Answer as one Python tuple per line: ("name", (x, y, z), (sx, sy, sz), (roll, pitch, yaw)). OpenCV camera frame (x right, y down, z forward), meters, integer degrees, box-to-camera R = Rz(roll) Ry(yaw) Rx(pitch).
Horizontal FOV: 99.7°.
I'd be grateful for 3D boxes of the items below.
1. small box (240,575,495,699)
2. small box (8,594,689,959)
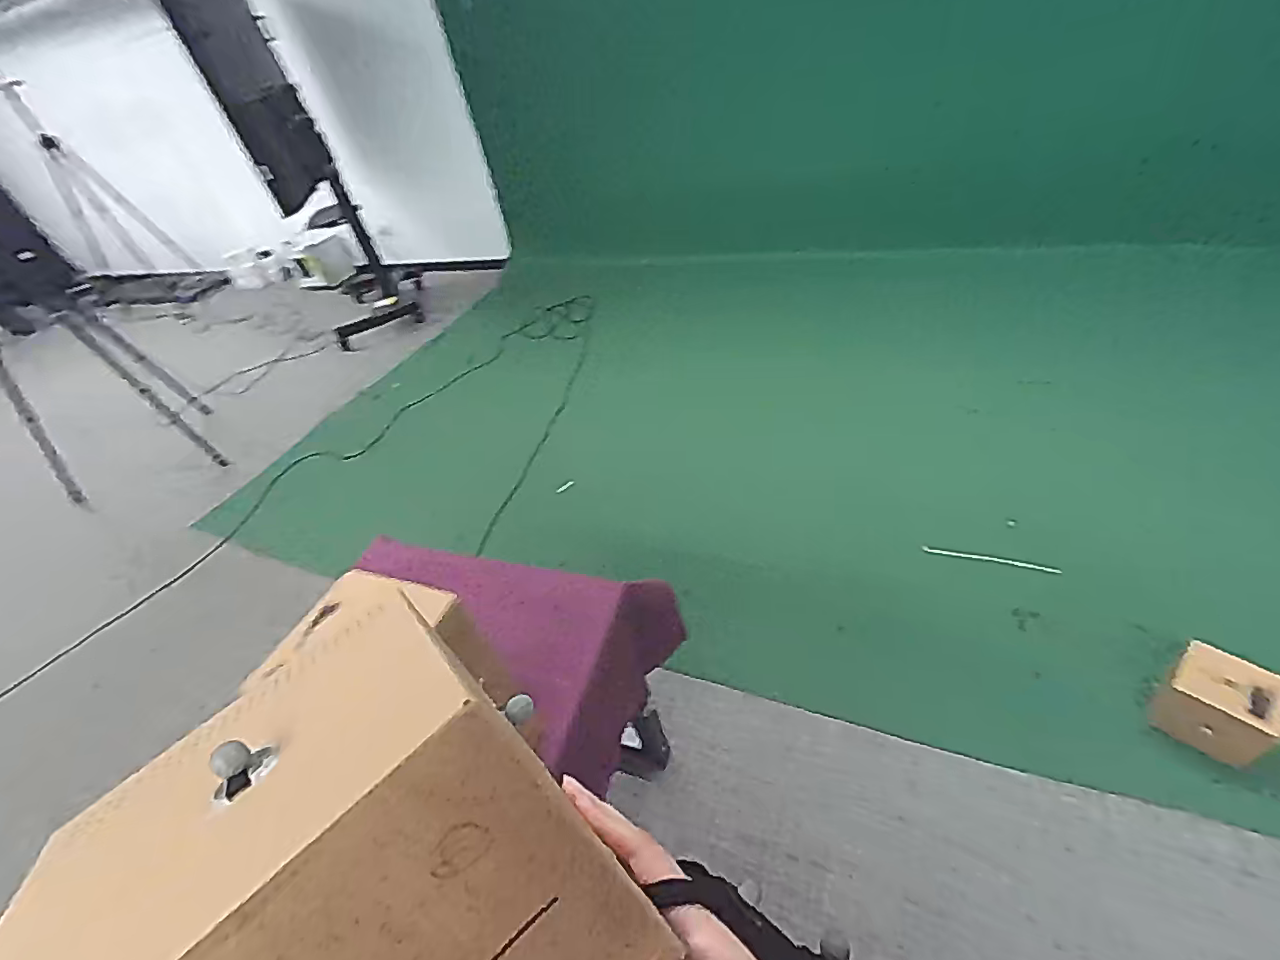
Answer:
("small box", (-0.303, 0.242, 0.642), (0.179, 0.176, 0.168), (8, 45, 22))
("small box", (-0.117, 0.181, 0.240), (0.179, 0.168, 0.176), (-38, 23, -24))
